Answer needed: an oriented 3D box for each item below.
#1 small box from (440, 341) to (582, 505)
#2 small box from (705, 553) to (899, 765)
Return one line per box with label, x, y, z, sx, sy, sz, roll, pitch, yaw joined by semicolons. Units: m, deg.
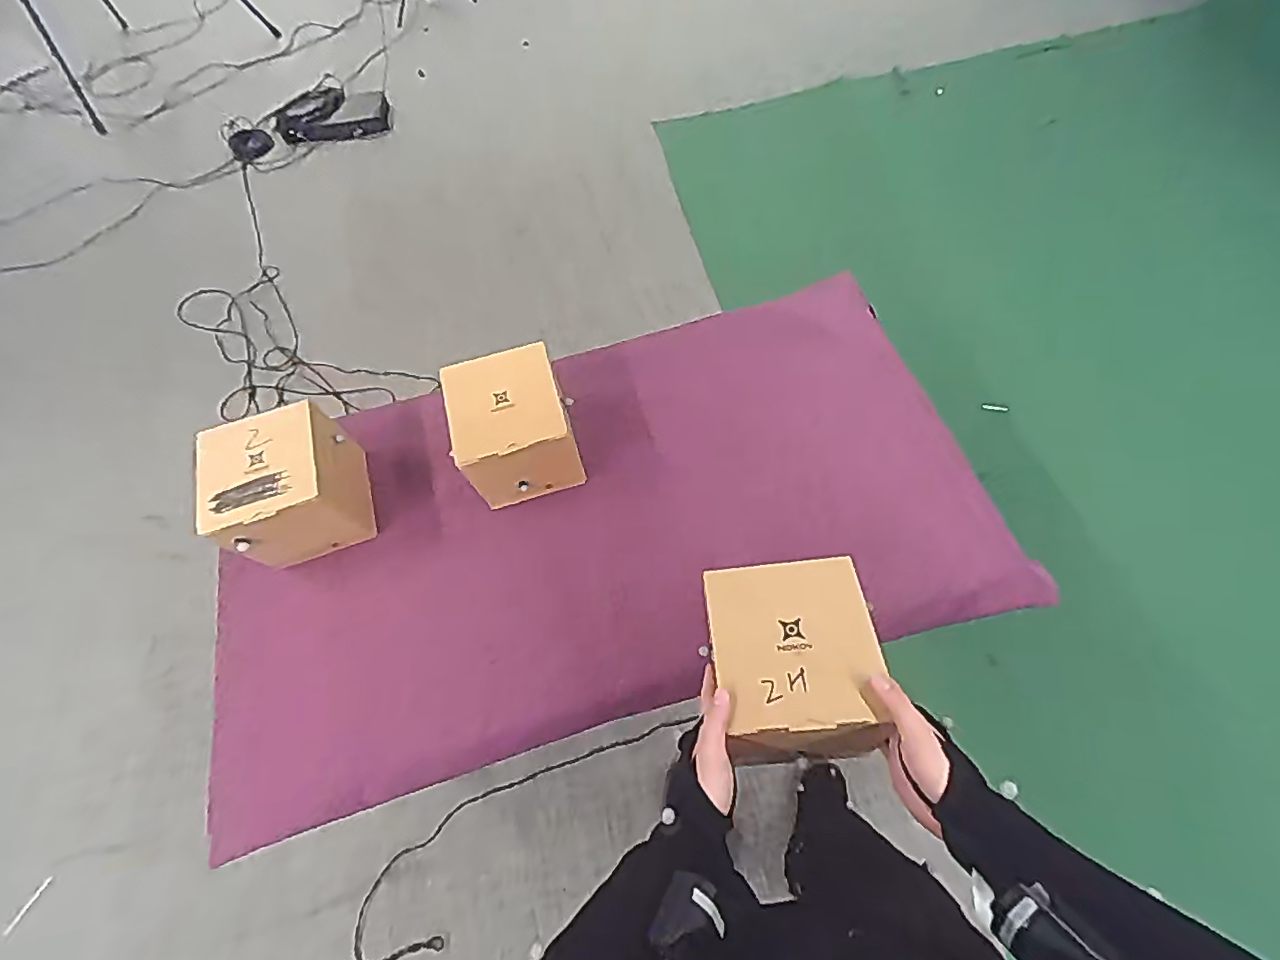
small box;-0.199;-0.084;0.861;0.168;0.176;0.179;-17;67;-4
small box;0.166;0.206;0.612;0.168;0.176;0.179;-7;52;6
